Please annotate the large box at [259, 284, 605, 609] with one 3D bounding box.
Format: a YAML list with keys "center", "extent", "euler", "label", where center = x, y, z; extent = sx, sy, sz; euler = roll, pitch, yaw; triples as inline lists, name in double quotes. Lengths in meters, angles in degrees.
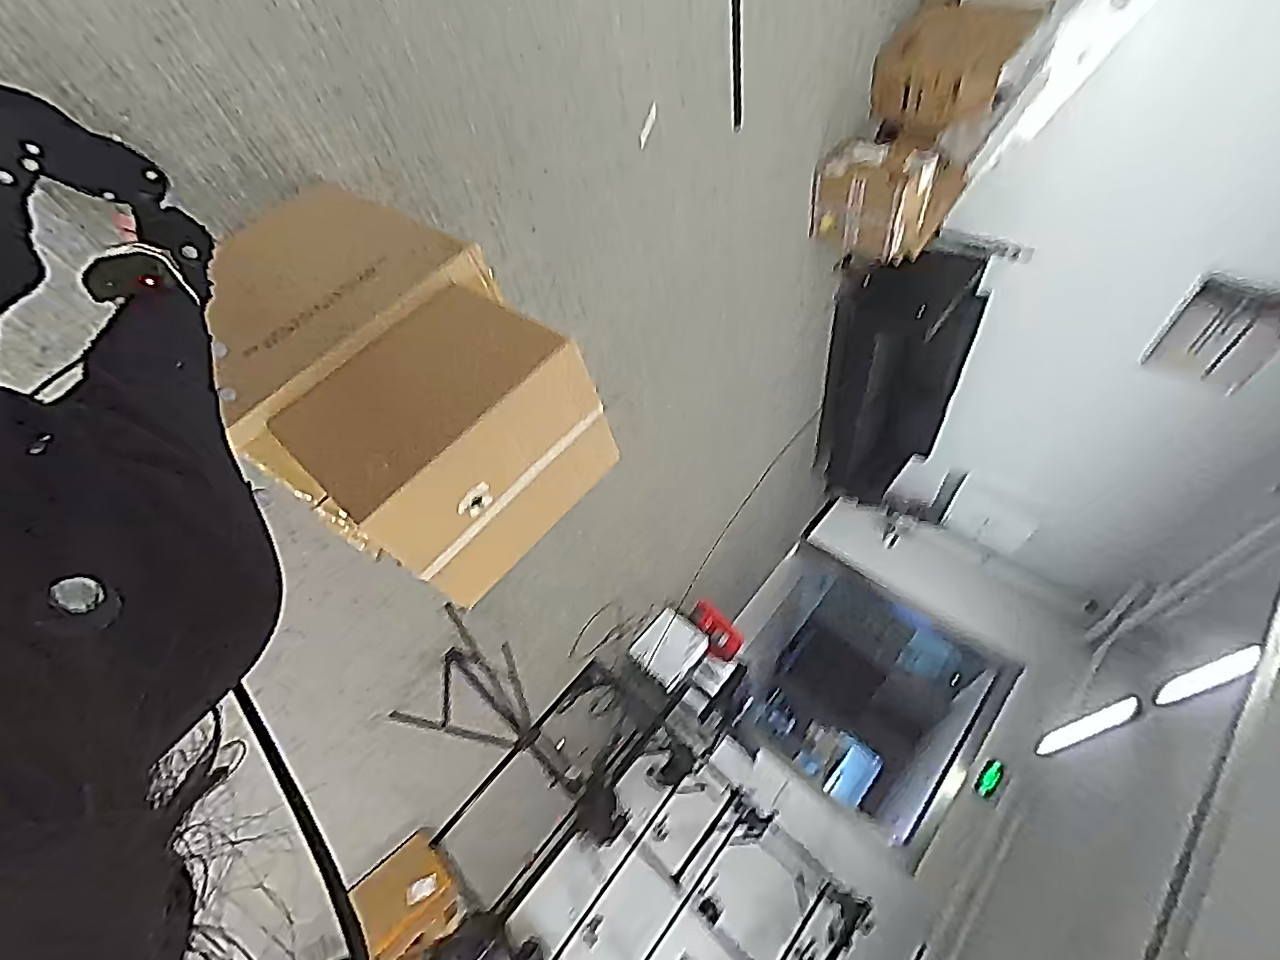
- center: [-0.330, -0.065, 0.947]
  extent: [0.408, 0.320, 0.320]
  euler: [-46, 149, -19]
  label: "large box"
